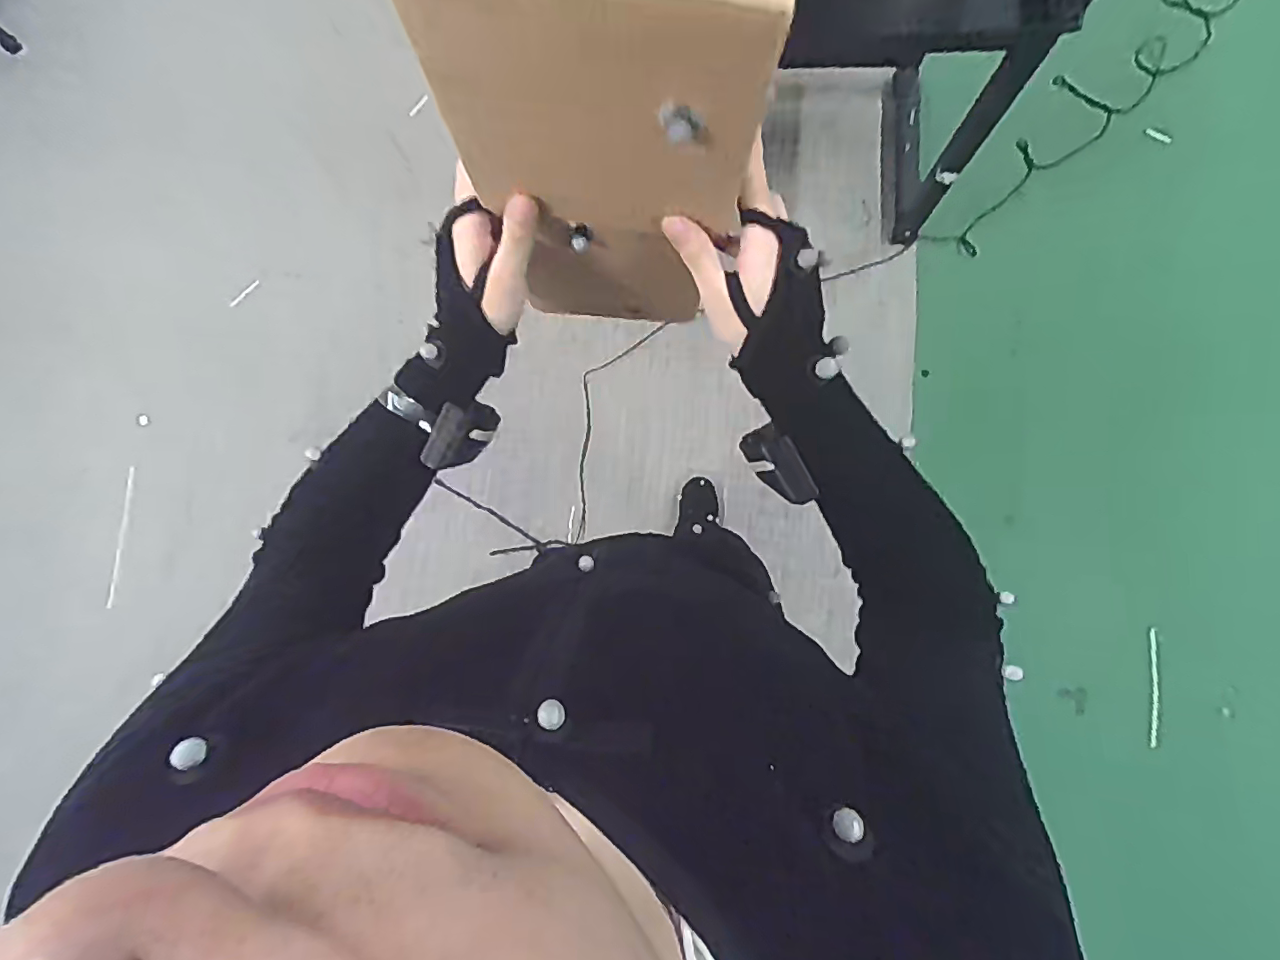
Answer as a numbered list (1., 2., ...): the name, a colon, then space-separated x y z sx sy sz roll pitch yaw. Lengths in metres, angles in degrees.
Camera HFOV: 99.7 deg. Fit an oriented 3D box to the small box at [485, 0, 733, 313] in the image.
1. small box: -0.020 -0.268 0.465 0.168 0.176 0.179 4 82 1
